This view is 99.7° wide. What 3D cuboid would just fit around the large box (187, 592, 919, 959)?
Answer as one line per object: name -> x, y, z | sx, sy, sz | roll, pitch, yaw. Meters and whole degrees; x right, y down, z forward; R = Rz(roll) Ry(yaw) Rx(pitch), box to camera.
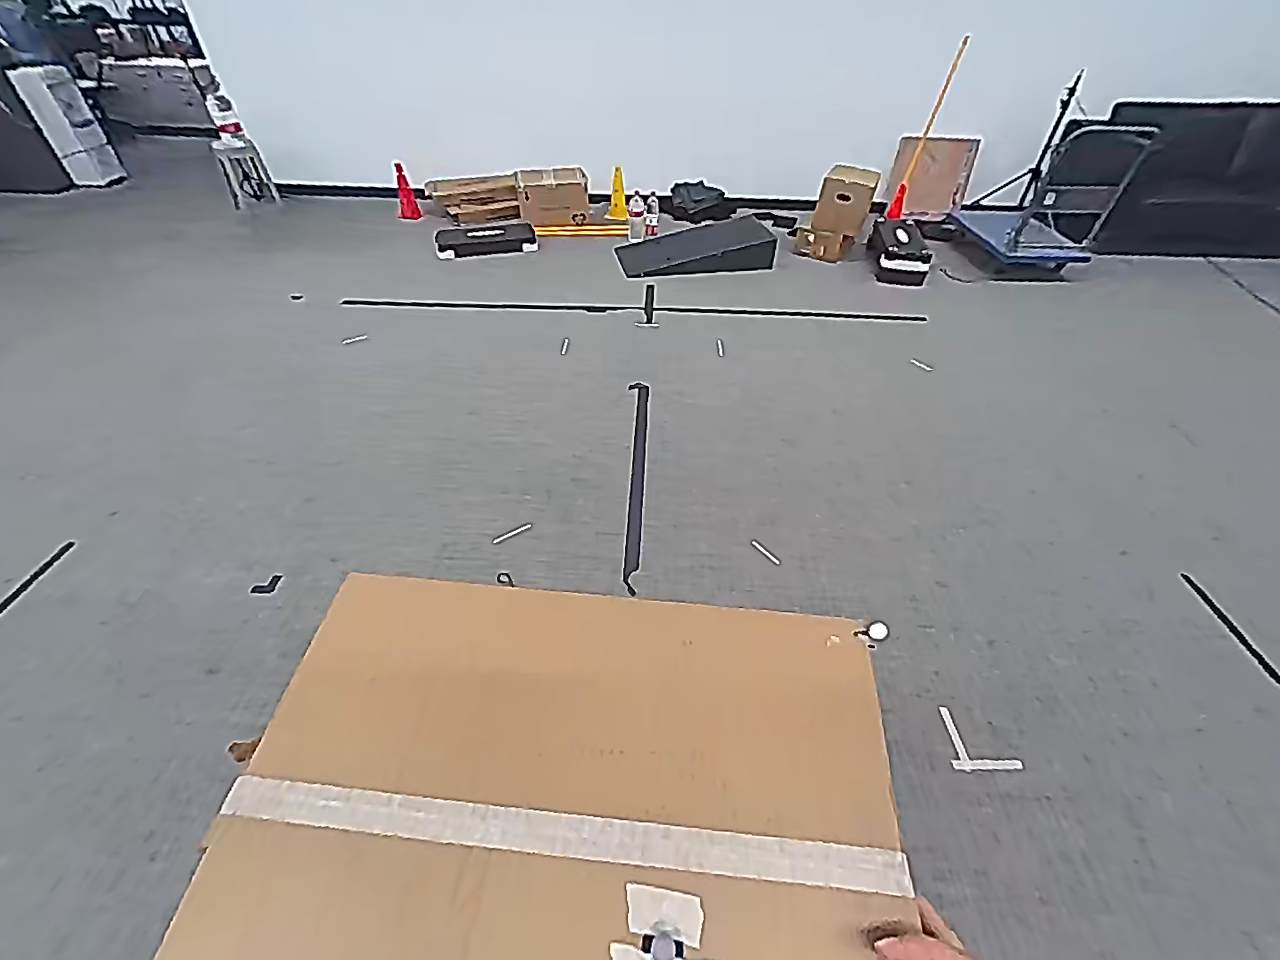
large box -> -0.044, 0.314, 0.443 | 0.408, 0.320, 0.320 | 5, 52, 3
